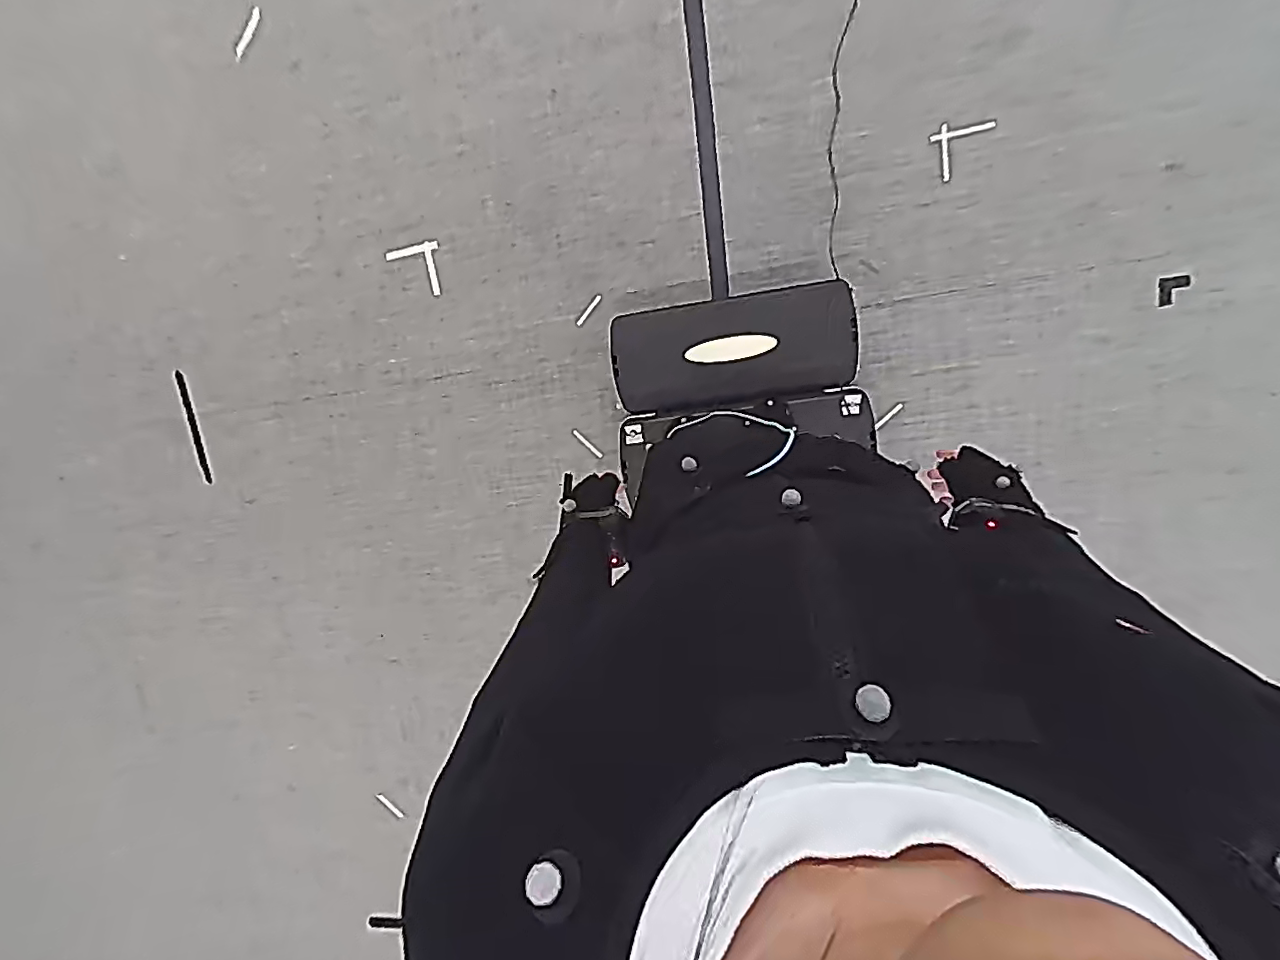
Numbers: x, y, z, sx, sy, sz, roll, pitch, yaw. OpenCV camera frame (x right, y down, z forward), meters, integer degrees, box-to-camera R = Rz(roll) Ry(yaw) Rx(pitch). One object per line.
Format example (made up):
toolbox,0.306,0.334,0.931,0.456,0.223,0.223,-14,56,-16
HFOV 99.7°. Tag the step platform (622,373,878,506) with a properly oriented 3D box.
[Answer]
step platform,0.293,-0.108,1.510,0.684,0.204,0.286,-7,98,11
